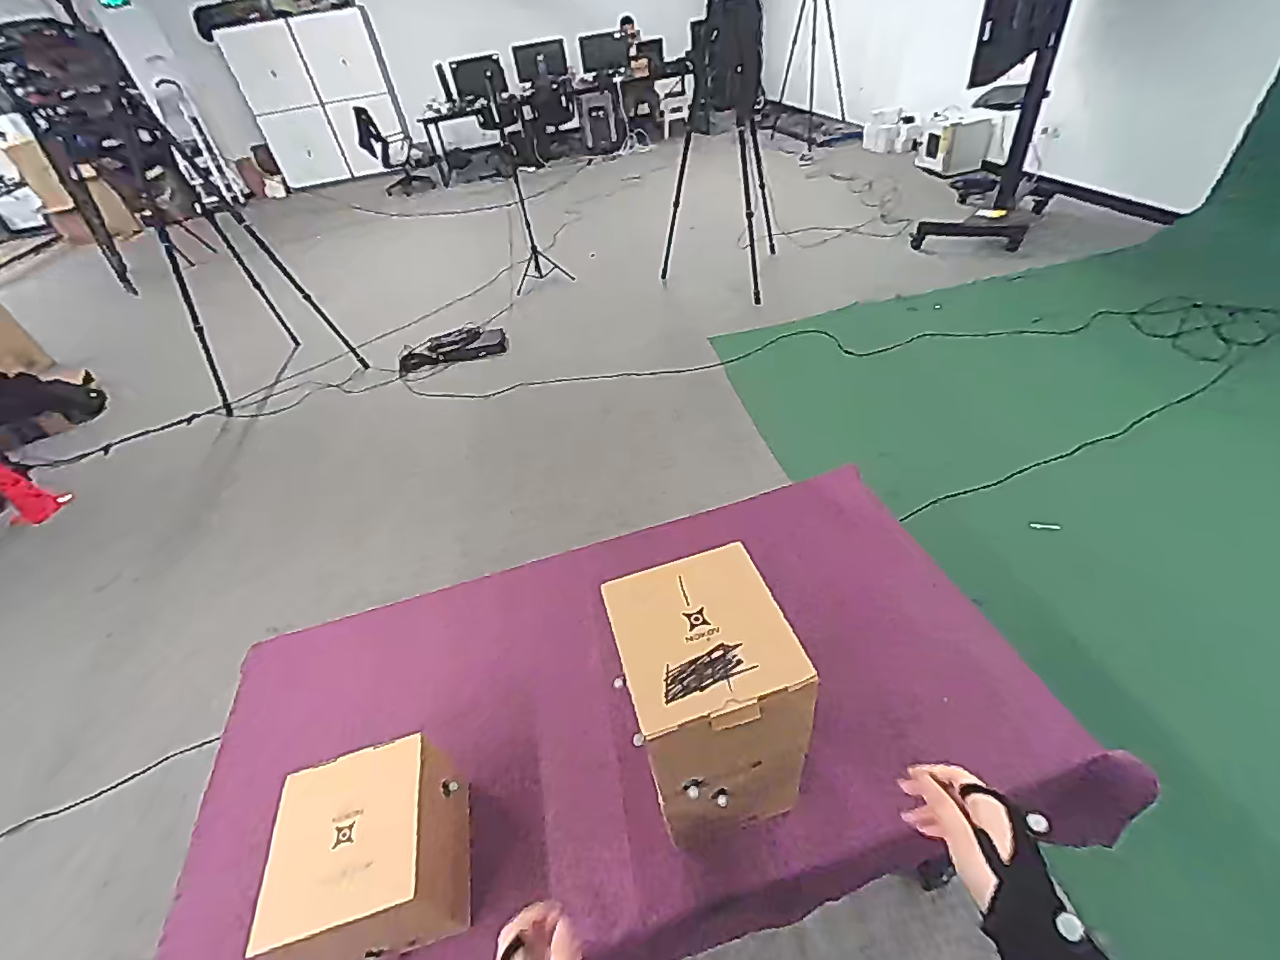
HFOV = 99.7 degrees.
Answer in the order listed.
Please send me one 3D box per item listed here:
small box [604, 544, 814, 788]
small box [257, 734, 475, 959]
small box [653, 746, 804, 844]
[{"bbox_3d":[0.071,0.206,0.588,0.168,0.176,0.179,-16,42,-6],"label":"small box"},{"bbox_3d":[-0.307,0.446,0.652,0.168,0.176,0.179,-16,43,-5],"label":"small box"},{"bbox_3d":[0.094,0.327,0.697,0.168,0.176,0.179,-17,41,-5],"label":"small box"}]
